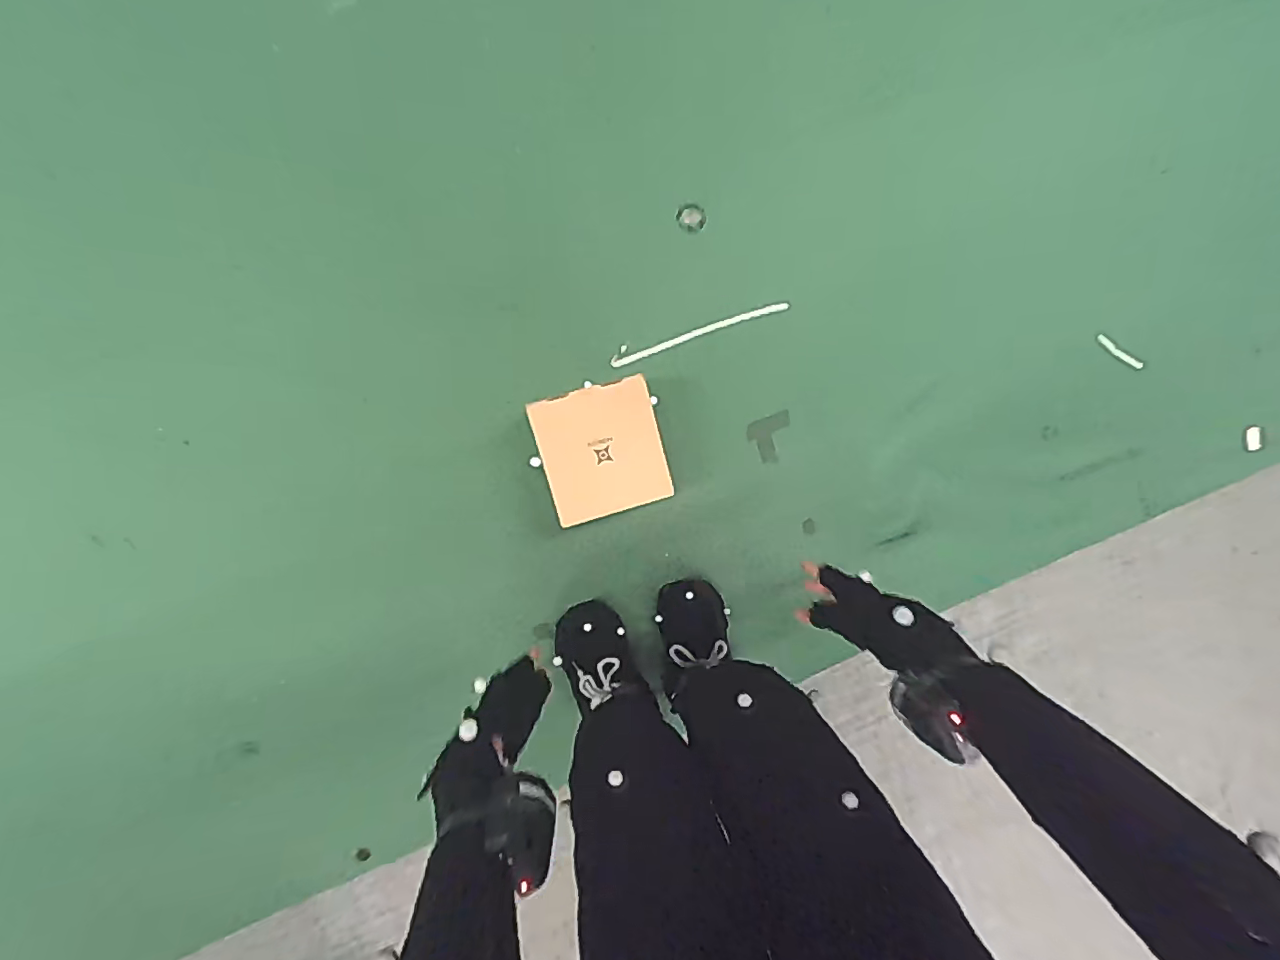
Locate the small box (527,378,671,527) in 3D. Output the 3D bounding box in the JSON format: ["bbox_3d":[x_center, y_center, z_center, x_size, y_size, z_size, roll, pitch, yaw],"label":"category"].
[{"bbox_3d":[-0.064,-0.046,0.821,0.168,0.176,0.179,-16,98,-6],"label":"small box"}]
